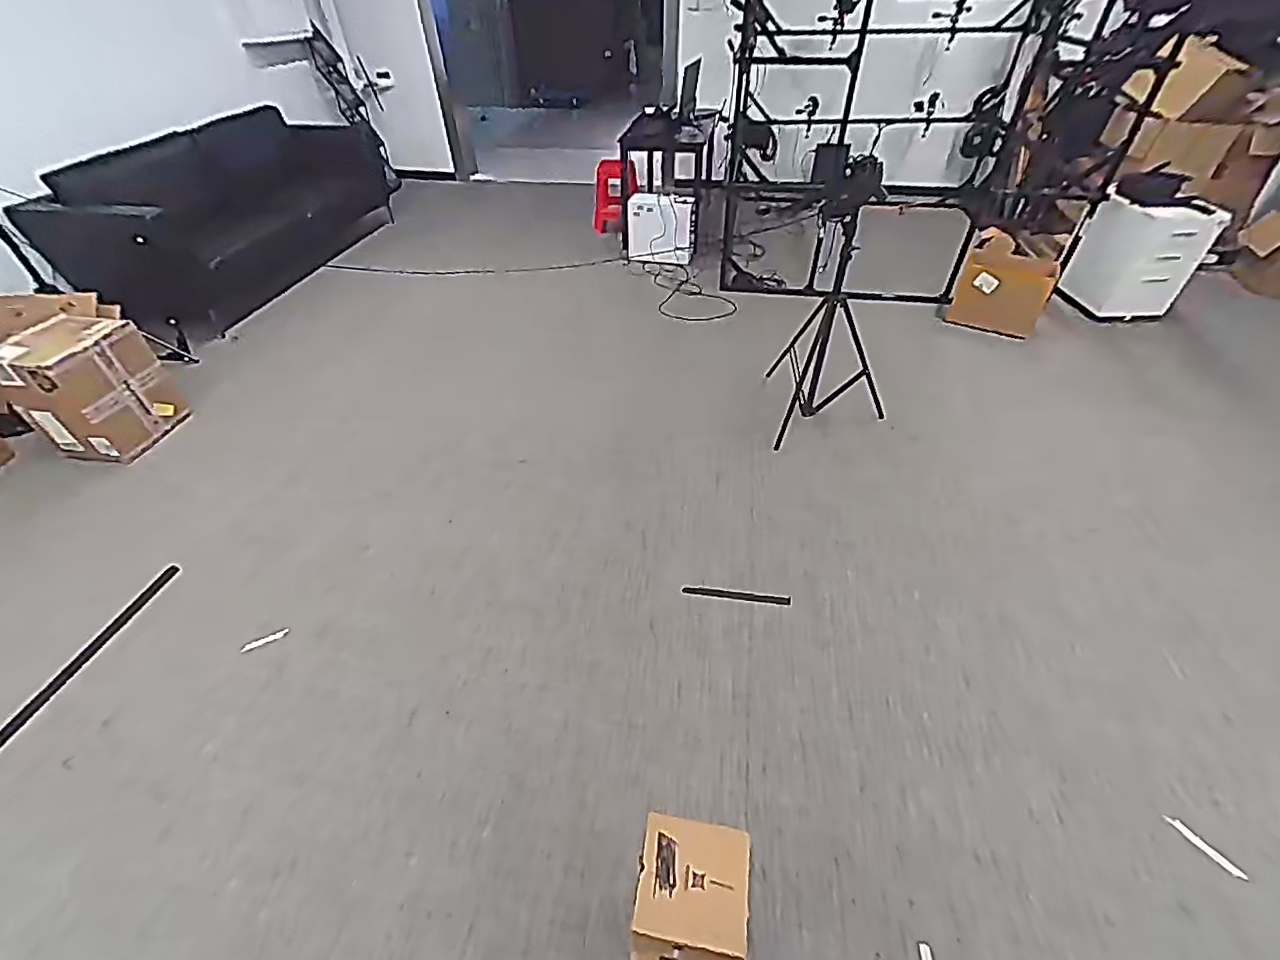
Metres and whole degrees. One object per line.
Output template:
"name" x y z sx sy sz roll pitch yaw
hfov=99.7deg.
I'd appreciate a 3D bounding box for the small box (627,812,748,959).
"small box" 0.080 0.693 0.912 0.179 0.176 0.168 8 43 8
